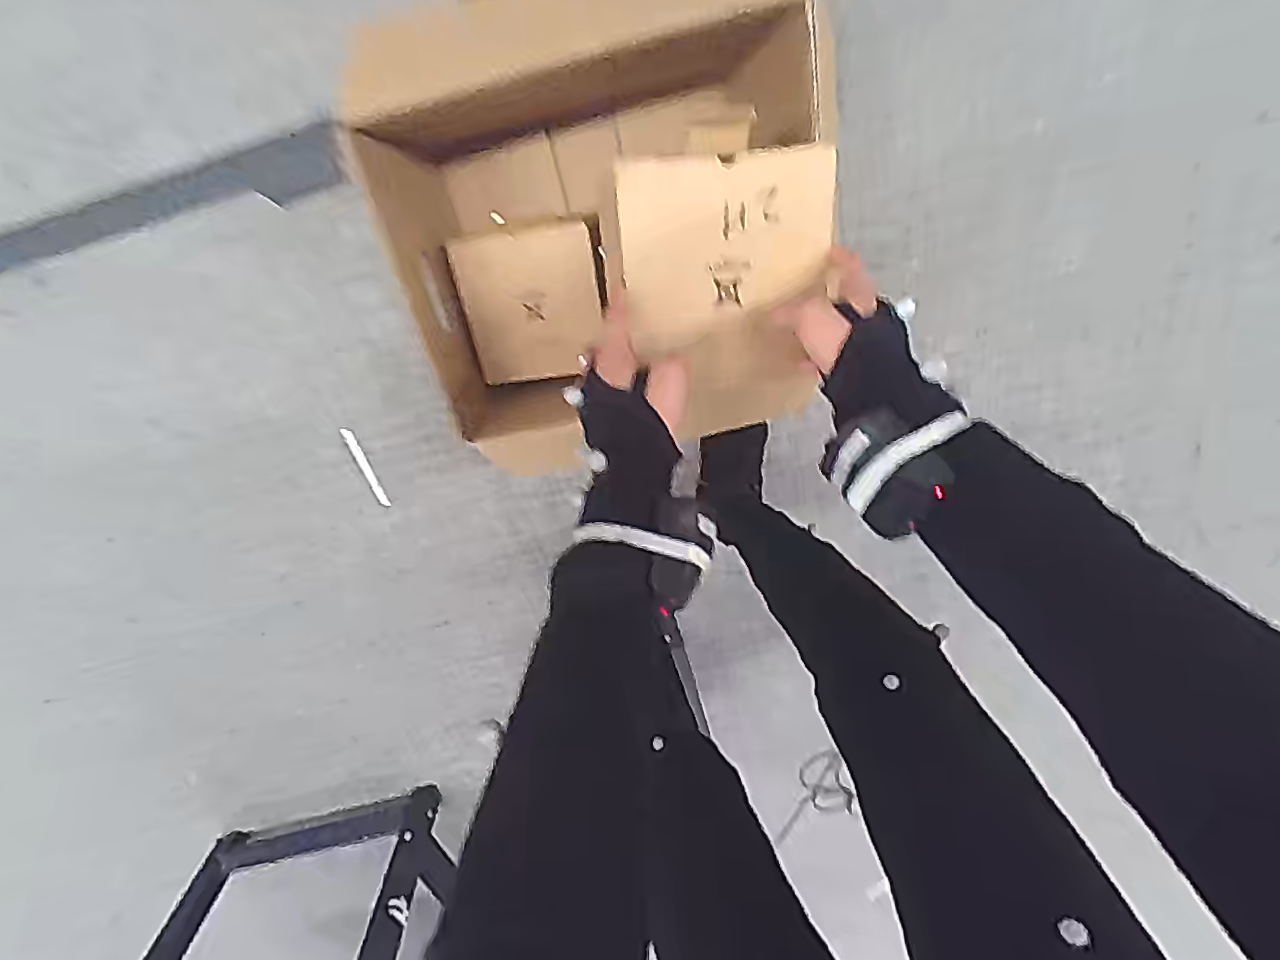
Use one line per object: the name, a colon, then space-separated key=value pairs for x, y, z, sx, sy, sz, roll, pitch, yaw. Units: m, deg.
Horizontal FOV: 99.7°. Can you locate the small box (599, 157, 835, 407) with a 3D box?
small box: x=0.057 y=-0.180 z=0.493 sx=0.168 sy=0.176 sz=0.179 roll=-8 pitch=114 yaw=-6
